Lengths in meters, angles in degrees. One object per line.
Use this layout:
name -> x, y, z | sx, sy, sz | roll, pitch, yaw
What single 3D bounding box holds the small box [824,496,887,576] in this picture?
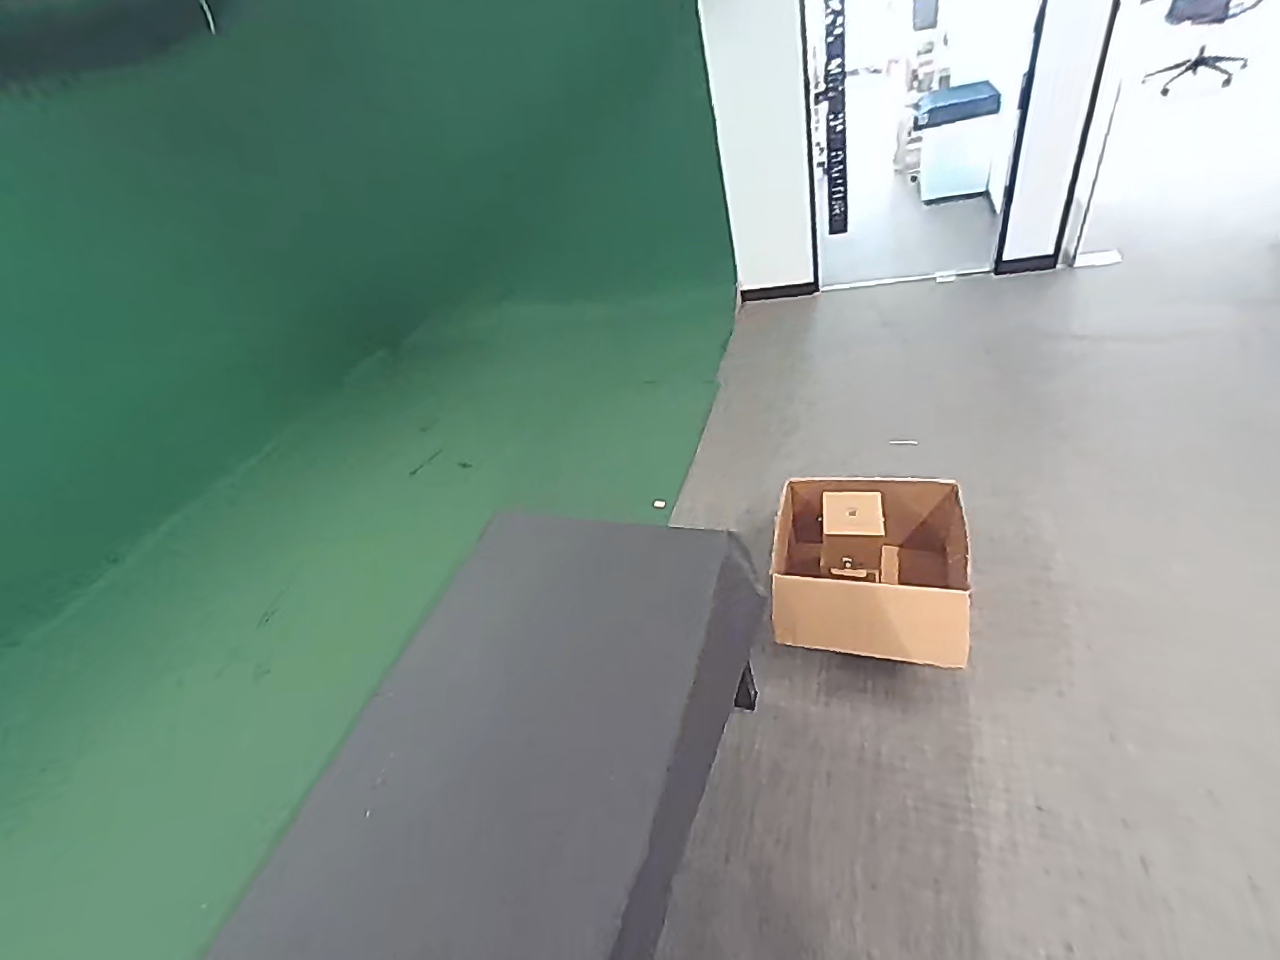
small box -> 0.648, 0.168, 1.641 | 0.168, 0.176, 0.179 | -1, 44, 18
